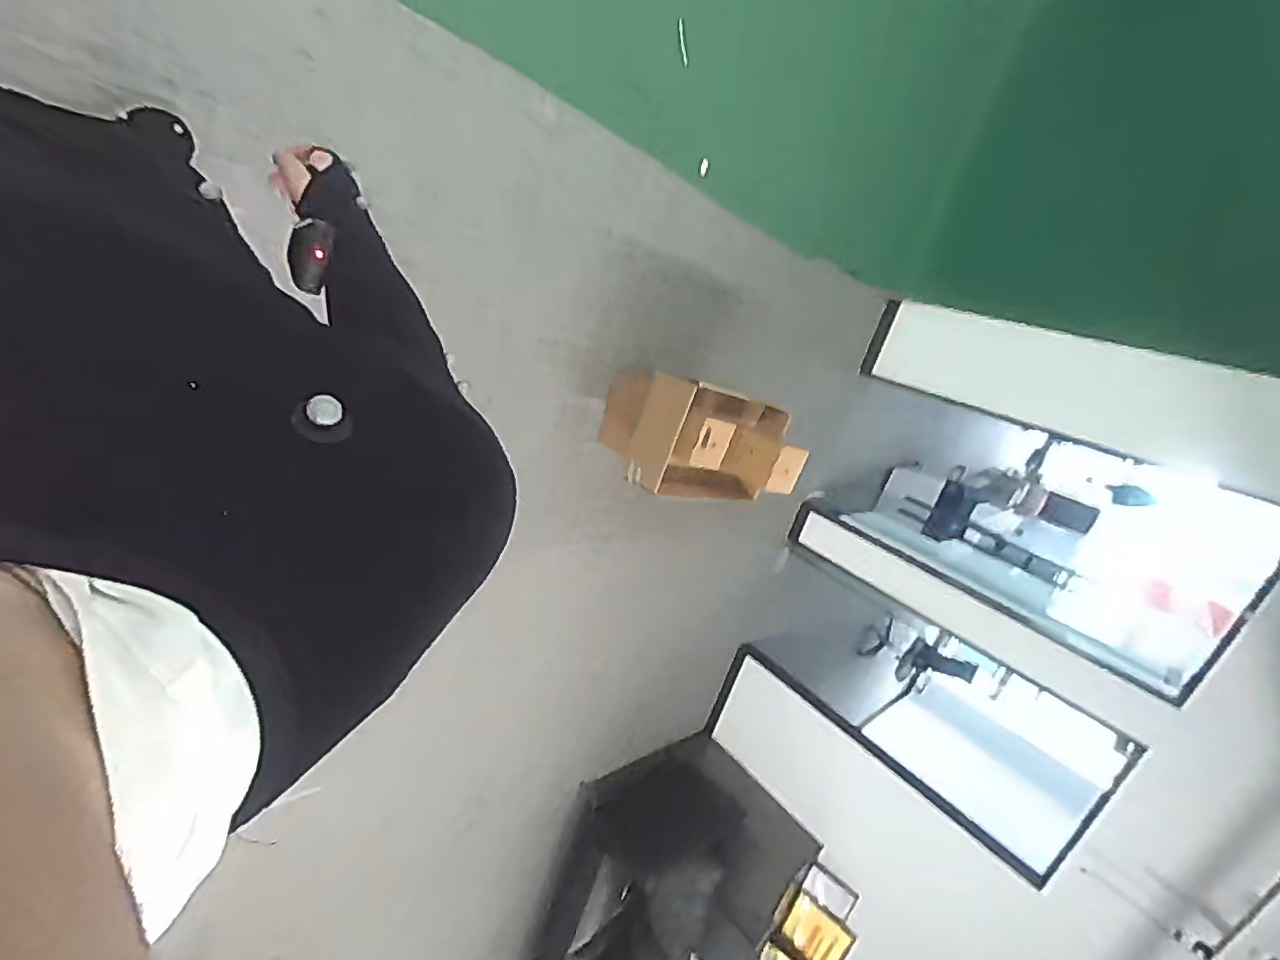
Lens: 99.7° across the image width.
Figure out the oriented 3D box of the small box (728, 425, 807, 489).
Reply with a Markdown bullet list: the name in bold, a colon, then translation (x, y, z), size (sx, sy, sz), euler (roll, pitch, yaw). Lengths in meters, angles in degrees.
- **small box**: translation (0.443, -0.081, 1.894), size (0.179, 0.176, 0.168), euler (6, 111, -45)

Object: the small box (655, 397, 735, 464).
- **small box**: translation (0.181, -0.168, 1.823), size (0.179, 0.176, 0.168), euler (5, 112, -48)
